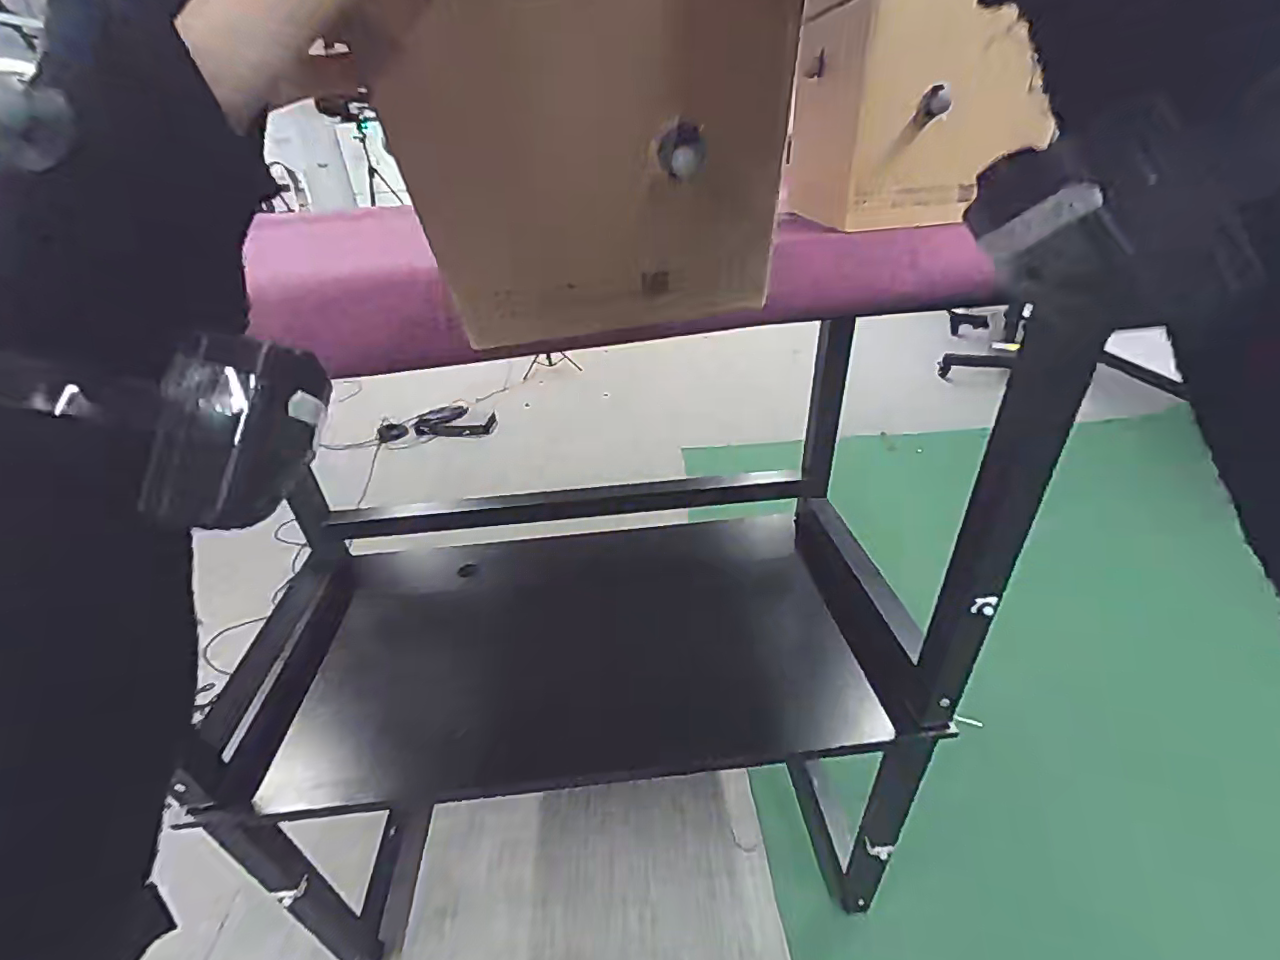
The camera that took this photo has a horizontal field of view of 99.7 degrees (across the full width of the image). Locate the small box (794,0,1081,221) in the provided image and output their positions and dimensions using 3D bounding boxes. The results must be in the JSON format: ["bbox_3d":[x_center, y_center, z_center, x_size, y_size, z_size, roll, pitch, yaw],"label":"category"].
[{"bbox_3d":[0.247,-0.338,0.491,0.168,0.176,0.179,-5,33,0],"label":"small box"}]
